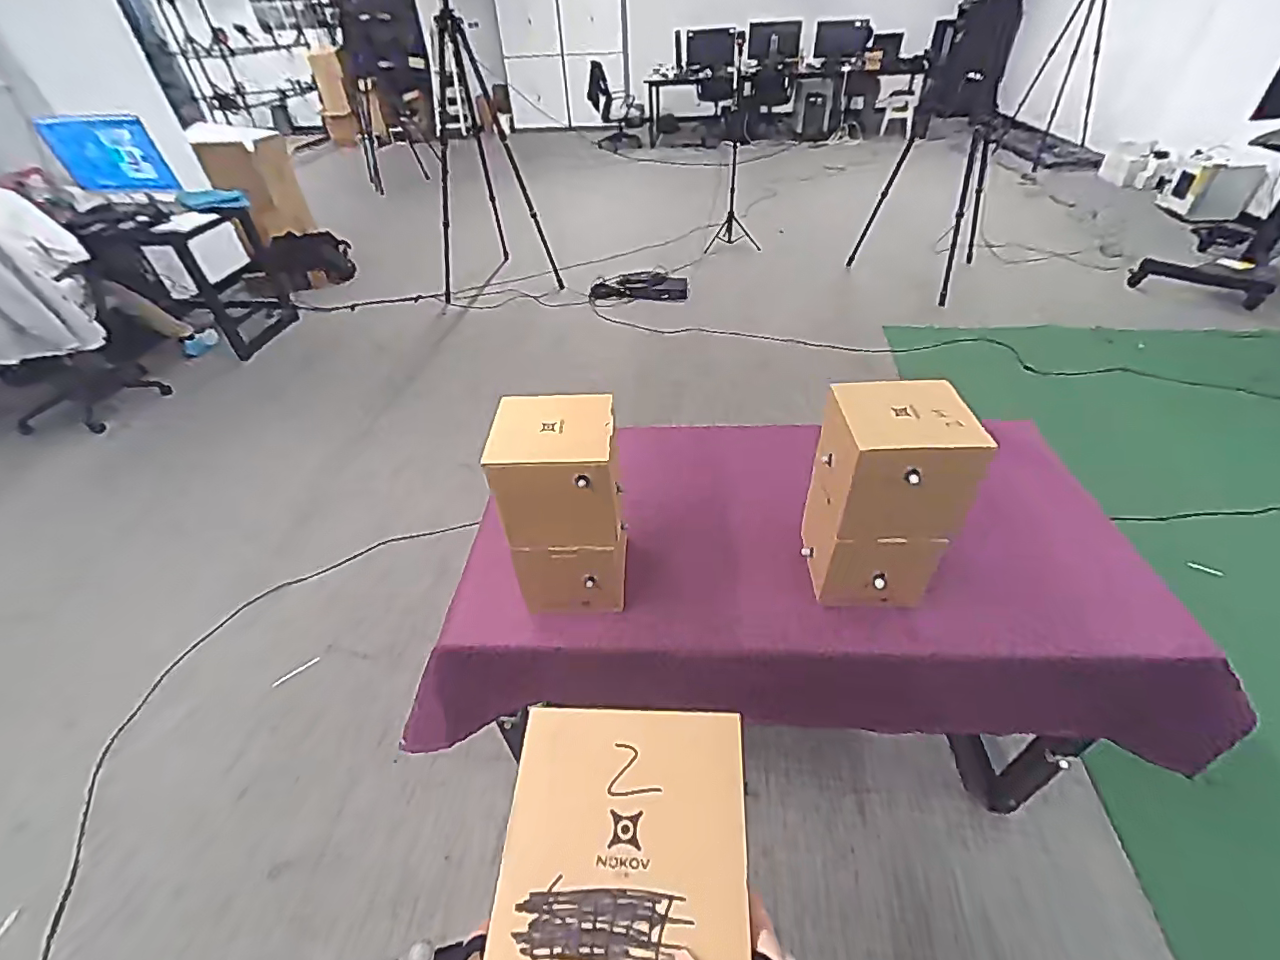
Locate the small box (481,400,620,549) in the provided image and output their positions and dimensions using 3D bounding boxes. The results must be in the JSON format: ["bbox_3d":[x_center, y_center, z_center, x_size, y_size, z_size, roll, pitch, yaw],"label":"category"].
[{"bbox_3d":[-0.124,-0.007,0.826,0.179,0.176,0.168,-1,41,0],"label":"small box"}]

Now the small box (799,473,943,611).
[{"bbox_3d":[0.375,0.106,0.914,0.168,0.176,0.179,0,42,4],"label":"small box"}]

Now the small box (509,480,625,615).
[{"bbox_3d":[-0.114,0.116,0.932,0.168,0.176,0.179,0,40,2],"label":"small box"}]

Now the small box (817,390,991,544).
[{"bbox_3d":[0.371,-0.018,0.804,0.179,0.176,0.168,0,41,3],"label":"small box"}]
